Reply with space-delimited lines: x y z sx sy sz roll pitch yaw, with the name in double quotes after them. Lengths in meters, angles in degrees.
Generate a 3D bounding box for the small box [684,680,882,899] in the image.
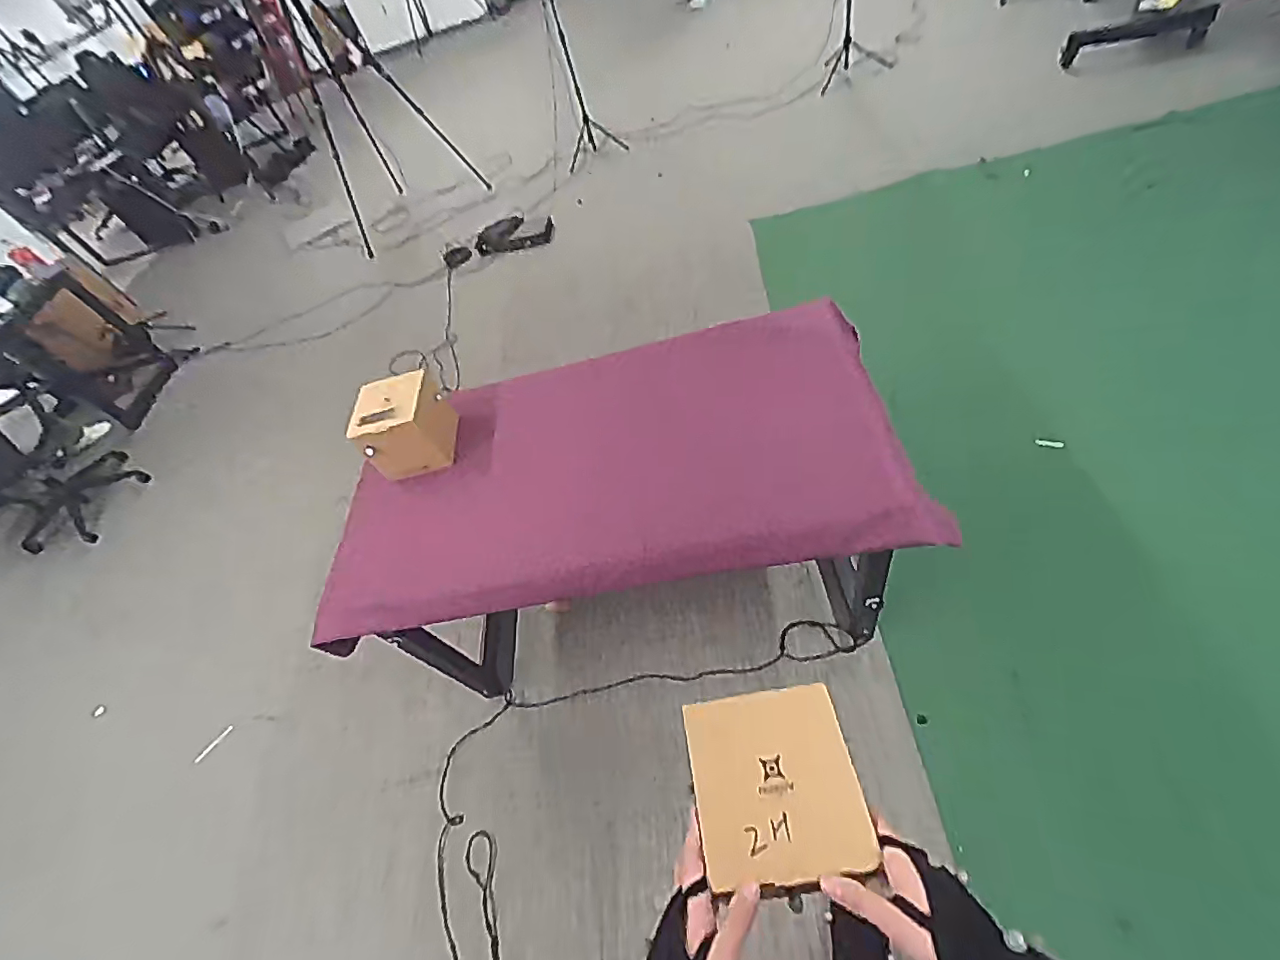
0.149 0.355 0.616 0.168 0.176 0.179 -11 49 3 "small box"
